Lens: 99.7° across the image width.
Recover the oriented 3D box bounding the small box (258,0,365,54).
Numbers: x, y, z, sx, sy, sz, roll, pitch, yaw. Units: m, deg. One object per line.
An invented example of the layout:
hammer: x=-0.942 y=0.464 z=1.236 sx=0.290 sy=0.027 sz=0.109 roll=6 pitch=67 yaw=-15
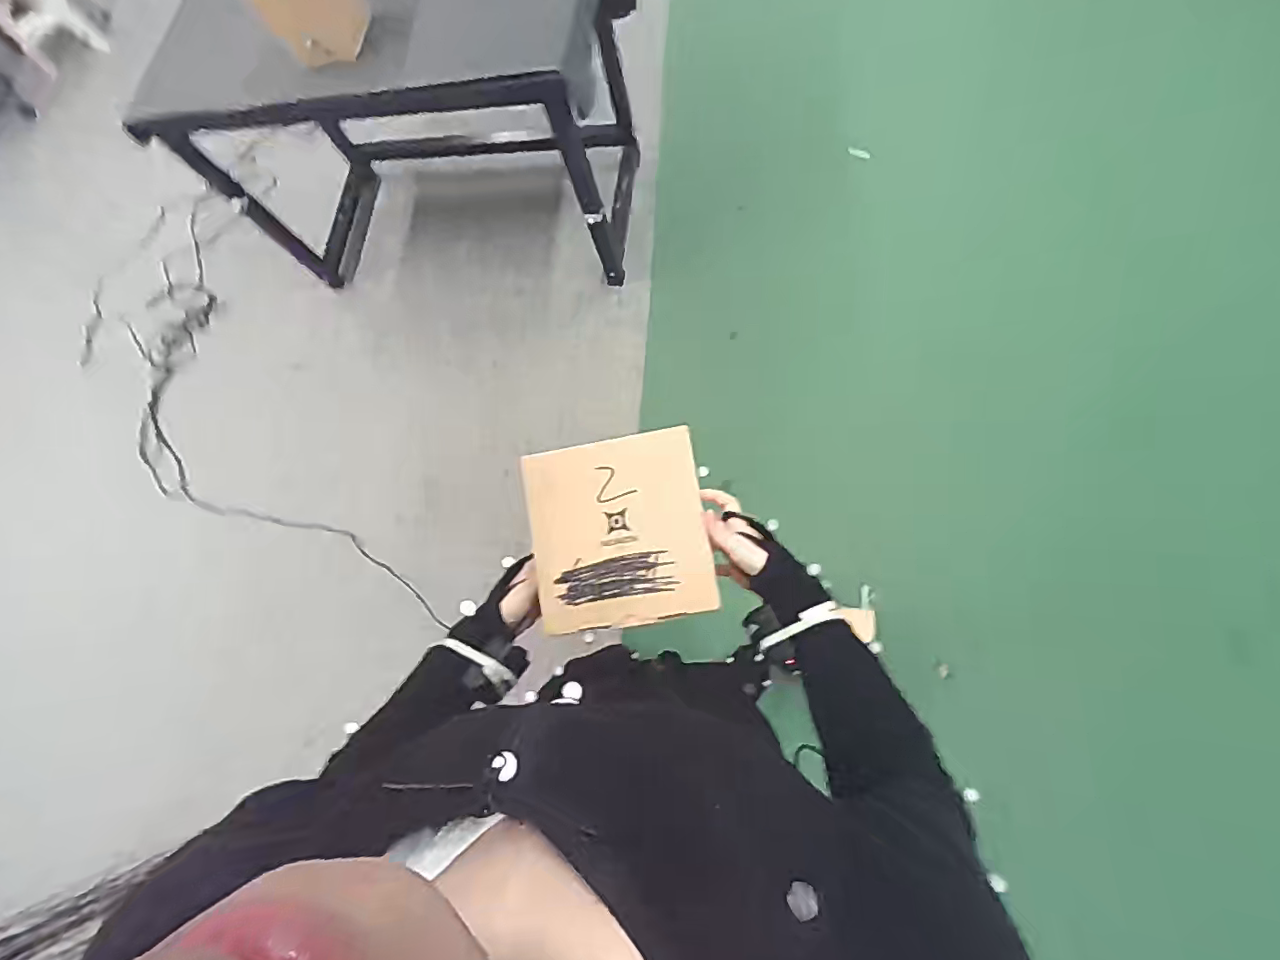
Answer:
small box: x=-0.772 y=-1.139 z=1.252 sx=0.168 sy=0.176 sz=0.179 roll=2 pitch=74 yaw=11

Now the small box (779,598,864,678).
small box: x=0.450 y=0.392 z=1.356 sx=0.179 sy=0.176 sz=0.168 roll=5 pitch=75 yaw=12
